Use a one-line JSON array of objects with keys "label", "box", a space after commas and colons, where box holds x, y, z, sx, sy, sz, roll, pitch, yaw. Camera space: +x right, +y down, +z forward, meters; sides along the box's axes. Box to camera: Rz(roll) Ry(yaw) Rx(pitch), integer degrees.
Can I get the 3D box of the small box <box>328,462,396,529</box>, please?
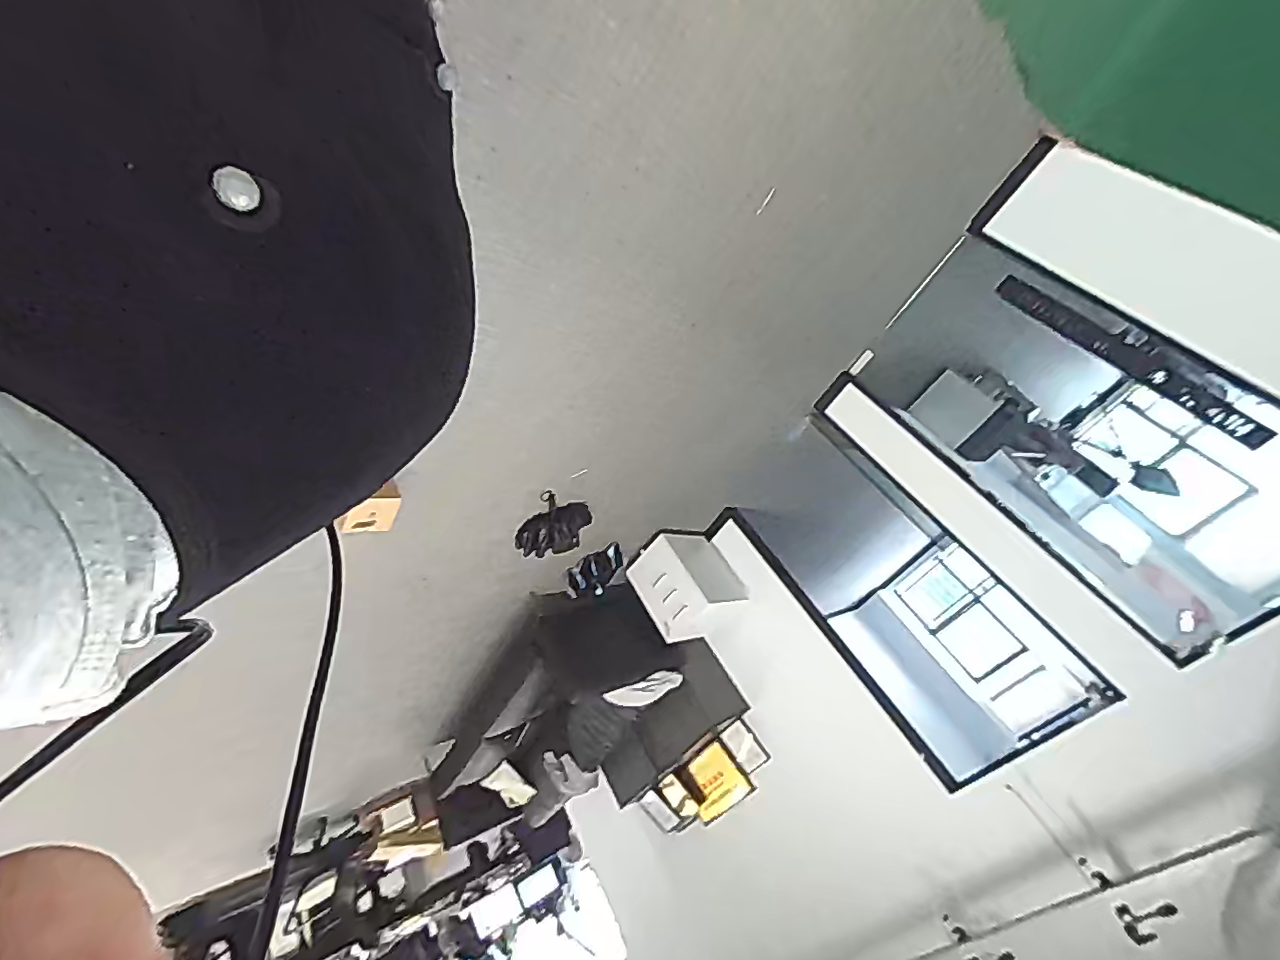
[{"label": "small box", "box": [-1.012, 0.055, 1.958, 0.168, 0.176, 0.179, 1, 134, -46]}]
